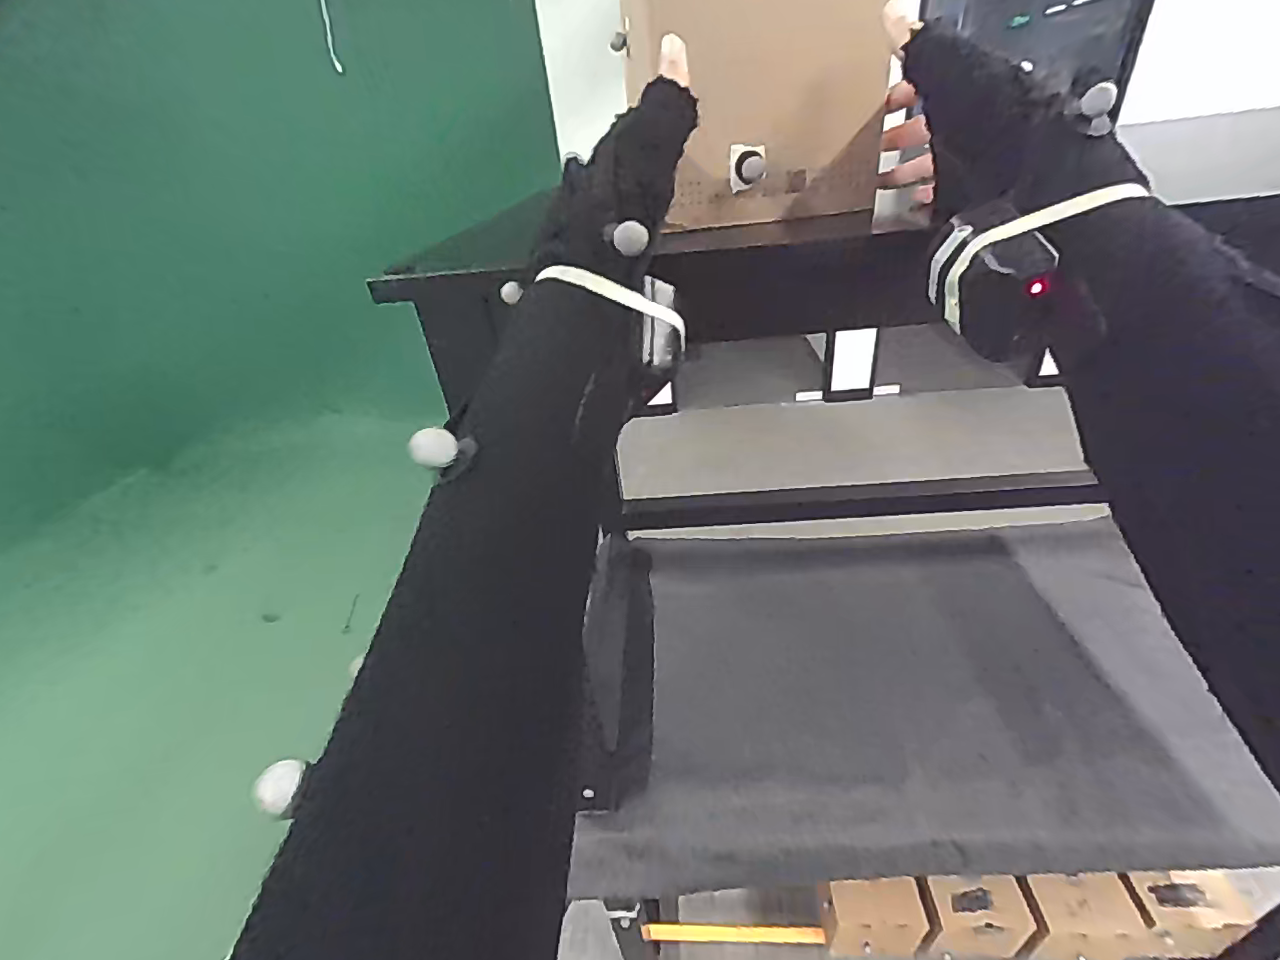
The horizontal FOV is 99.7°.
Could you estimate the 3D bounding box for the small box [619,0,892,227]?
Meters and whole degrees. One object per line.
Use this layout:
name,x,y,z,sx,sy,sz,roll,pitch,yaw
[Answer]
small box,0.074,-0.305,0.426,0.168,0.176,0.179,-8,33,0
